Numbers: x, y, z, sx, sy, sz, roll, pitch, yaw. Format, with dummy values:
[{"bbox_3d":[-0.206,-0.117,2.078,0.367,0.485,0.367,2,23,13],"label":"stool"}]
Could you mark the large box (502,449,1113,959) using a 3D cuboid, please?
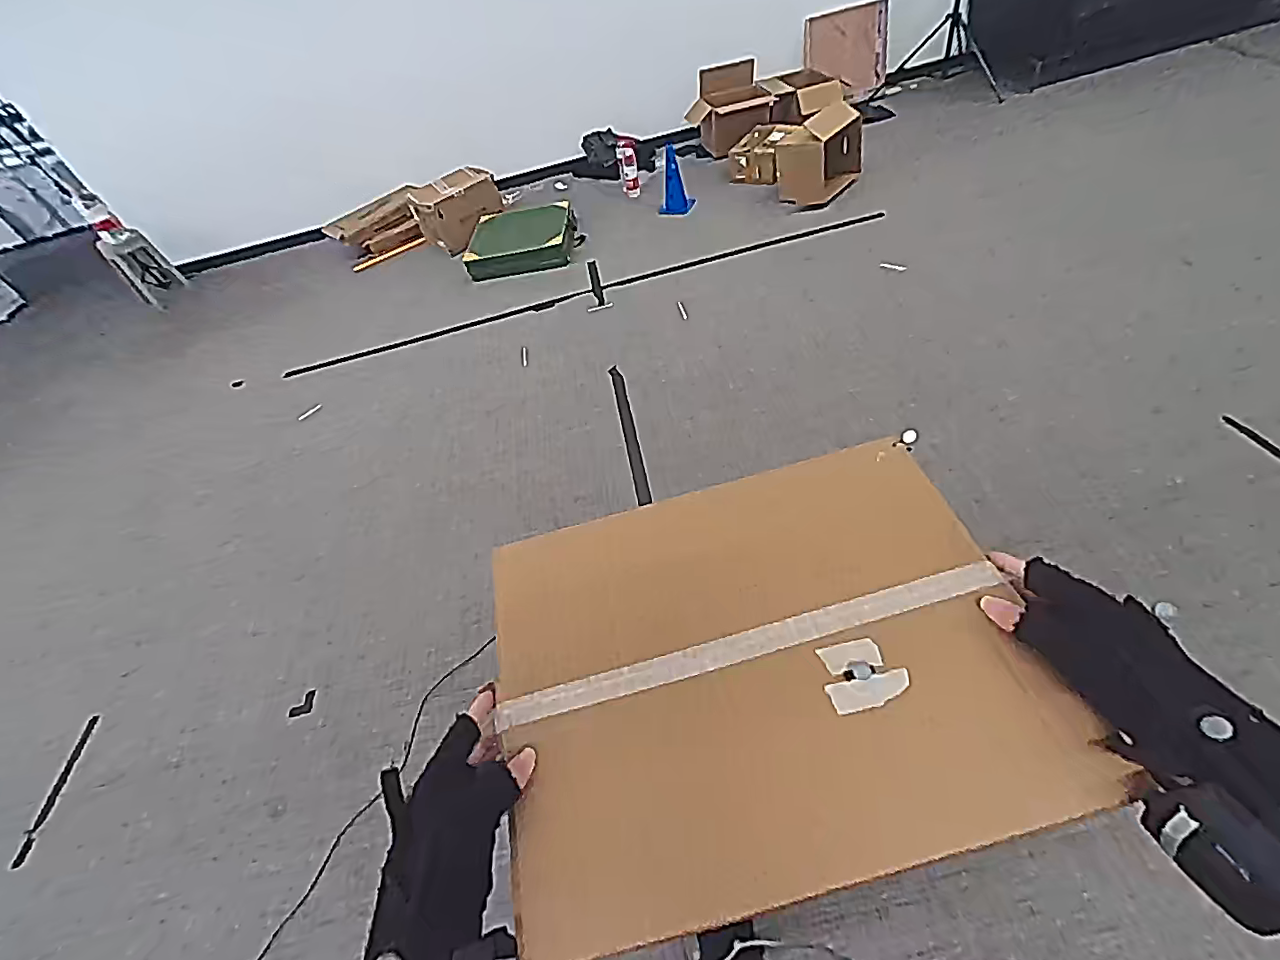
[{"bbox_3d":[0.111,0.228,0.556,0.408,0.320,0.320,-16,52,-1],"label":"large box"}]
